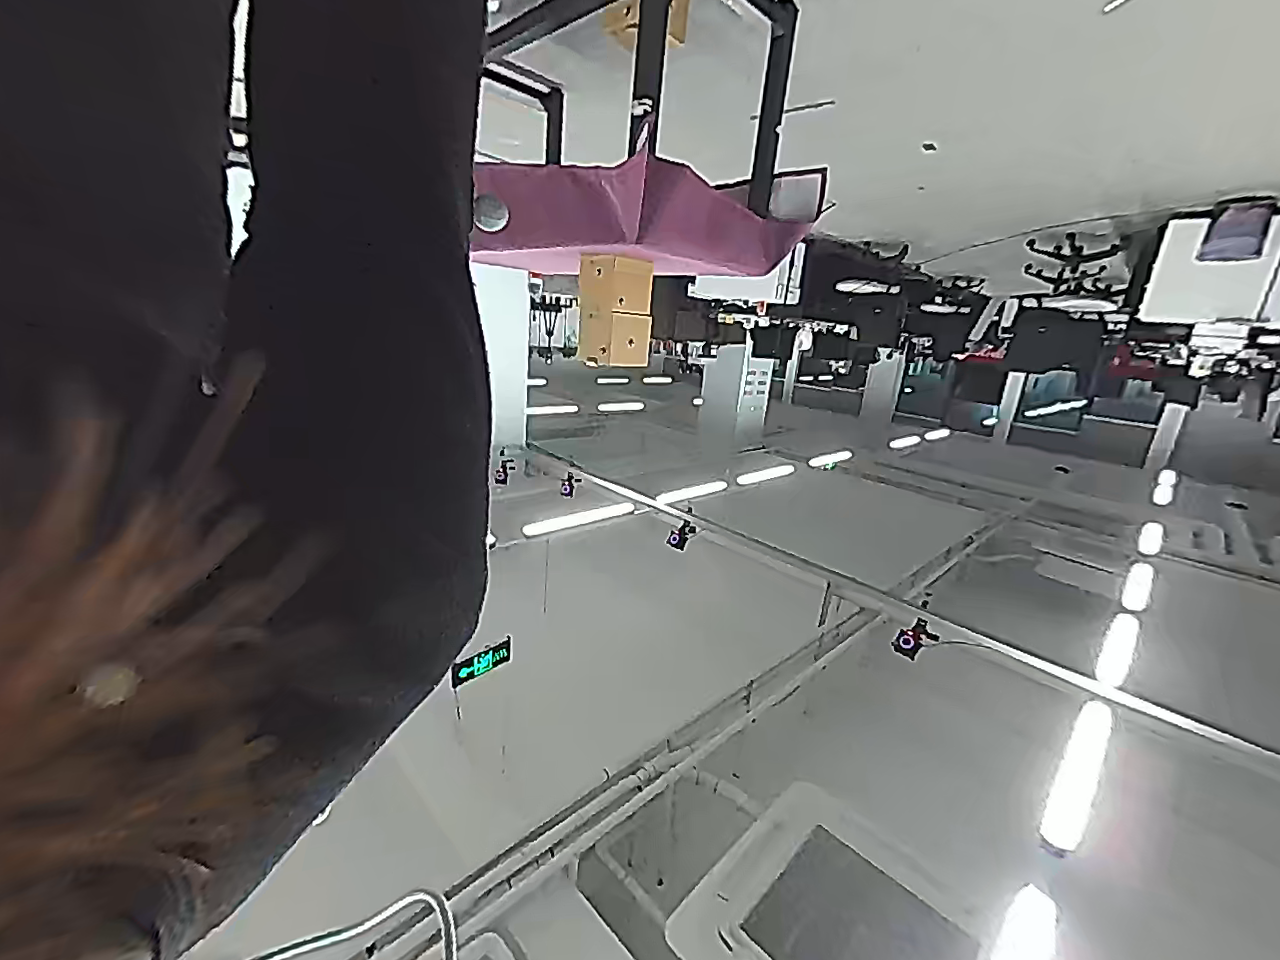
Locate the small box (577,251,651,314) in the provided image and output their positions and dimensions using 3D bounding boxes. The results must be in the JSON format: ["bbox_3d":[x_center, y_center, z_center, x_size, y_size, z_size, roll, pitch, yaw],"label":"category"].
[{"bbox_3d":[-0.081,-0.632,1.736,0.179,0.176,0.168,-11,-157,-44],"label":"small box"}]
